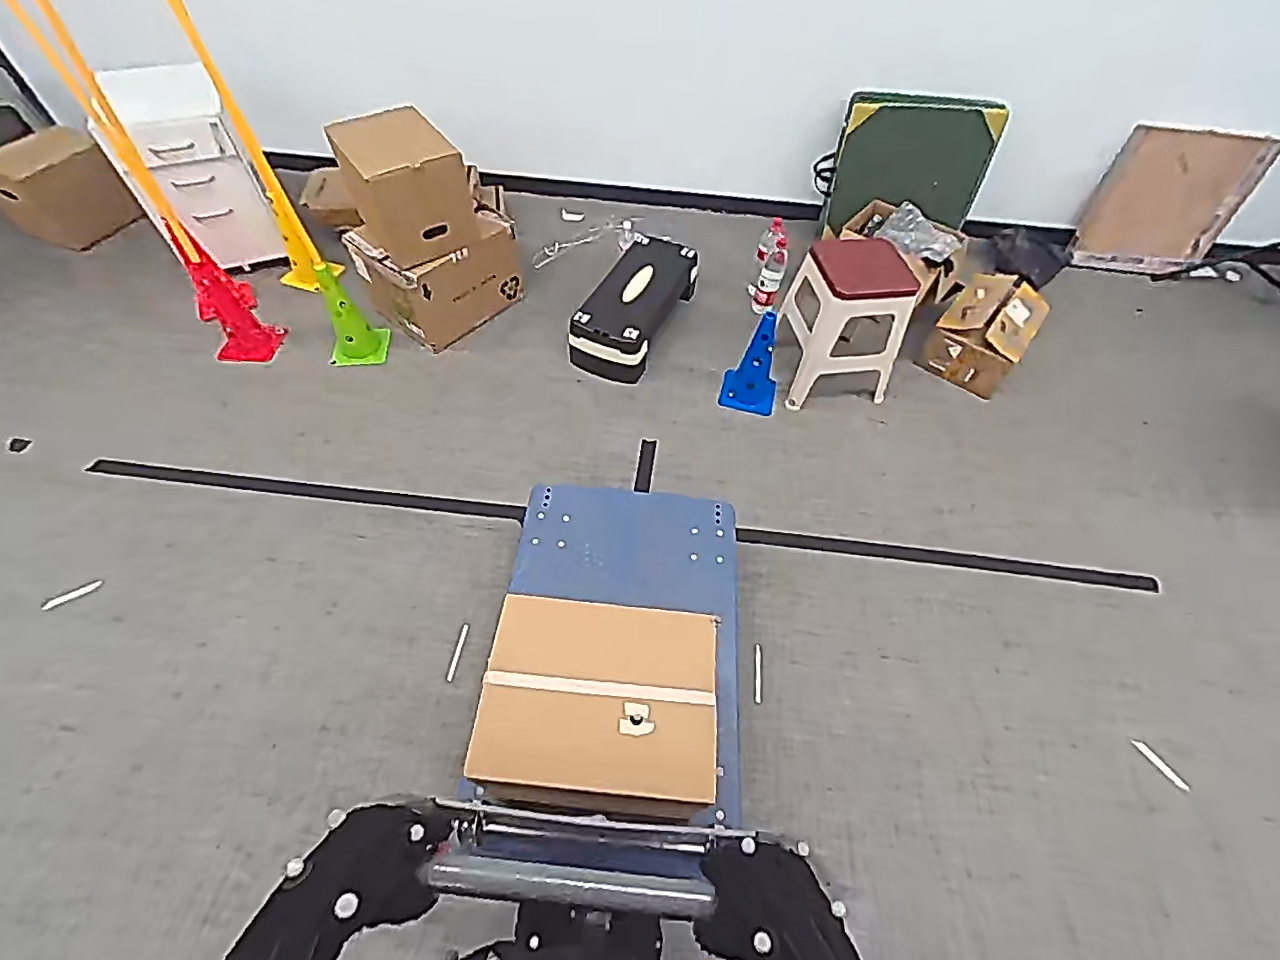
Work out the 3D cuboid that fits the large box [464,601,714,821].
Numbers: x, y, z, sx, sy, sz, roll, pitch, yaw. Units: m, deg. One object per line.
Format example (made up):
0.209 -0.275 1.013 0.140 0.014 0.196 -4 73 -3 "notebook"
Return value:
-0.082 0.458 1.053 0.408 0.320 0.320 6 55 0 "large box"
